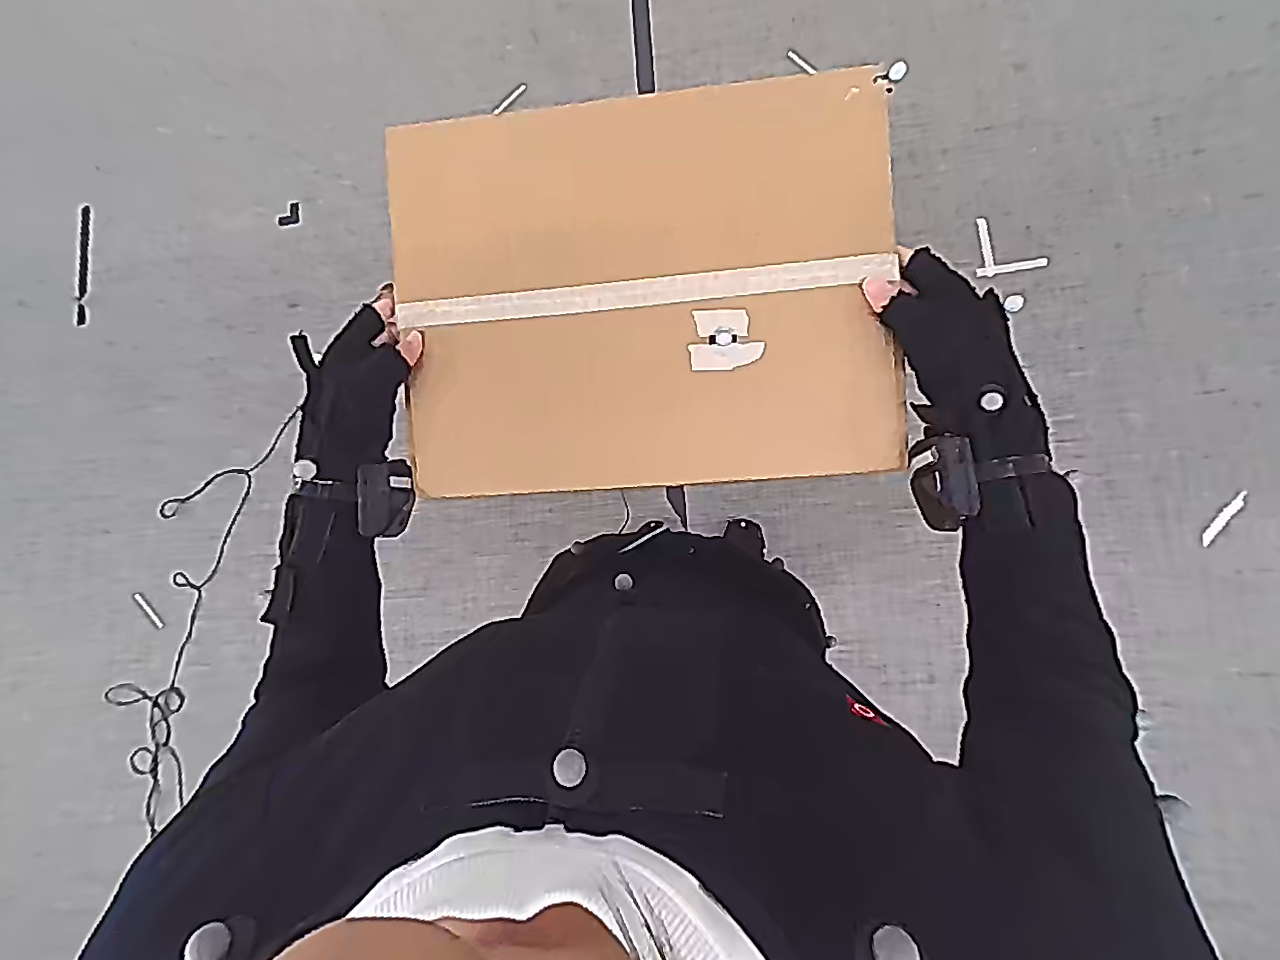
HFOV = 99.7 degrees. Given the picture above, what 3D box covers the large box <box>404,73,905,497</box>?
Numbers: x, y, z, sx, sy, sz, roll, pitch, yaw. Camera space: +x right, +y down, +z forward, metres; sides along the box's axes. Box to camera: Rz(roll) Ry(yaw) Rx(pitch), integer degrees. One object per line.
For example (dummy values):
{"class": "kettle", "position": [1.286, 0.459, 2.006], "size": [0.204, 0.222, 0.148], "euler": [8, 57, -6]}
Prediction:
{"class": "large box", "position": [0.017, -0.160, 0.598], "size": [0.408, 0.320, 0.320], "euler": [-4, 92, 5]}
